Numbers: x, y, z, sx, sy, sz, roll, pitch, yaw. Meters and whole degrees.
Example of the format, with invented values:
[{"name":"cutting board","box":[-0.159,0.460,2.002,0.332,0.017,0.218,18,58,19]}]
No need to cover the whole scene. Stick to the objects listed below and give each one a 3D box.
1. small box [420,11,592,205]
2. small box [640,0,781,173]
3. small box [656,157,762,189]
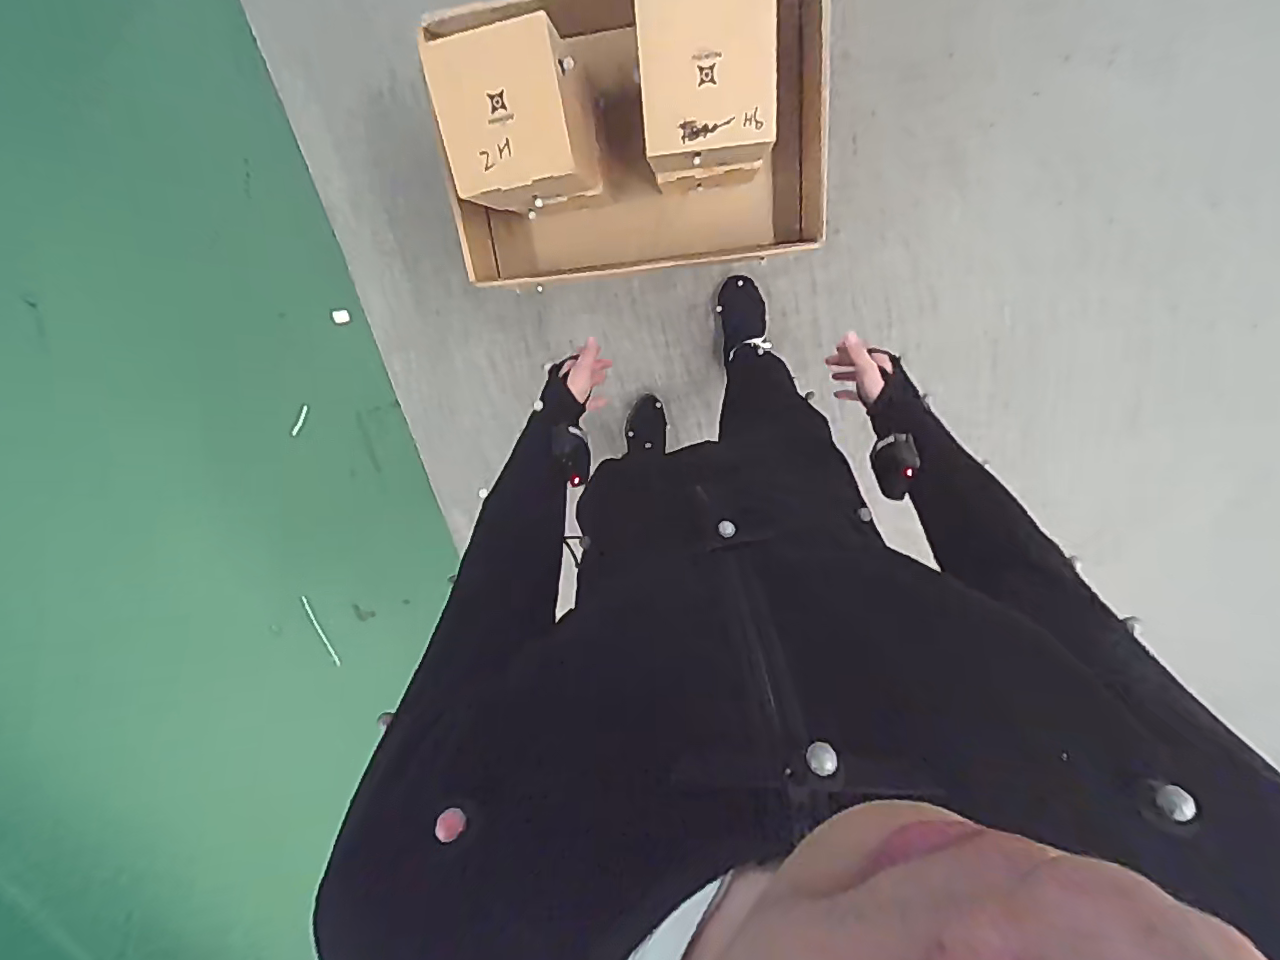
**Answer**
[{"name":"small box","box":[-0.171,-0.497,0.752,0.168,0.176,0.179,-7,113,8]},{"name":"small box","box":[0.089,-0.526,0.721,0.168,0.176,0.179,-3,114,5]},{"name":"small box","box":[0.103,-0.584,0.875,0.168,0.176,0.179,-4,114,6]}]
